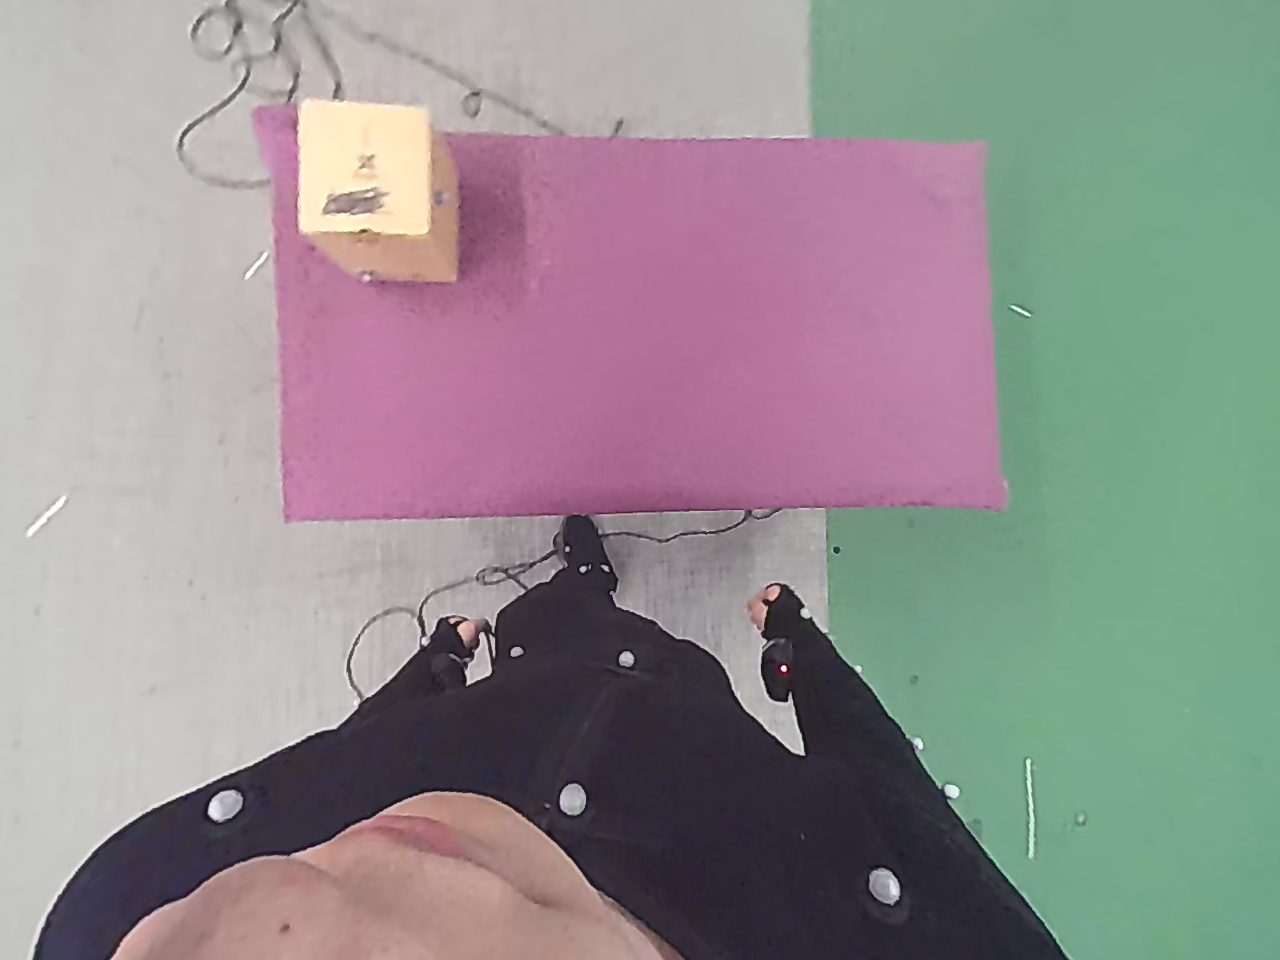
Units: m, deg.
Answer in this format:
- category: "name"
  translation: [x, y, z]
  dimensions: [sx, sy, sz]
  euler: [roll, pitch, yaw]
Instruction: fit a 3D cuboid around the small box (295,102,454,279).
- category: "small box"
  translation: [-0.373, -0.406, 0.789]
  dimensions: [0.168, 0.176, 0.179]
  euler: [-1, 91, -7]
